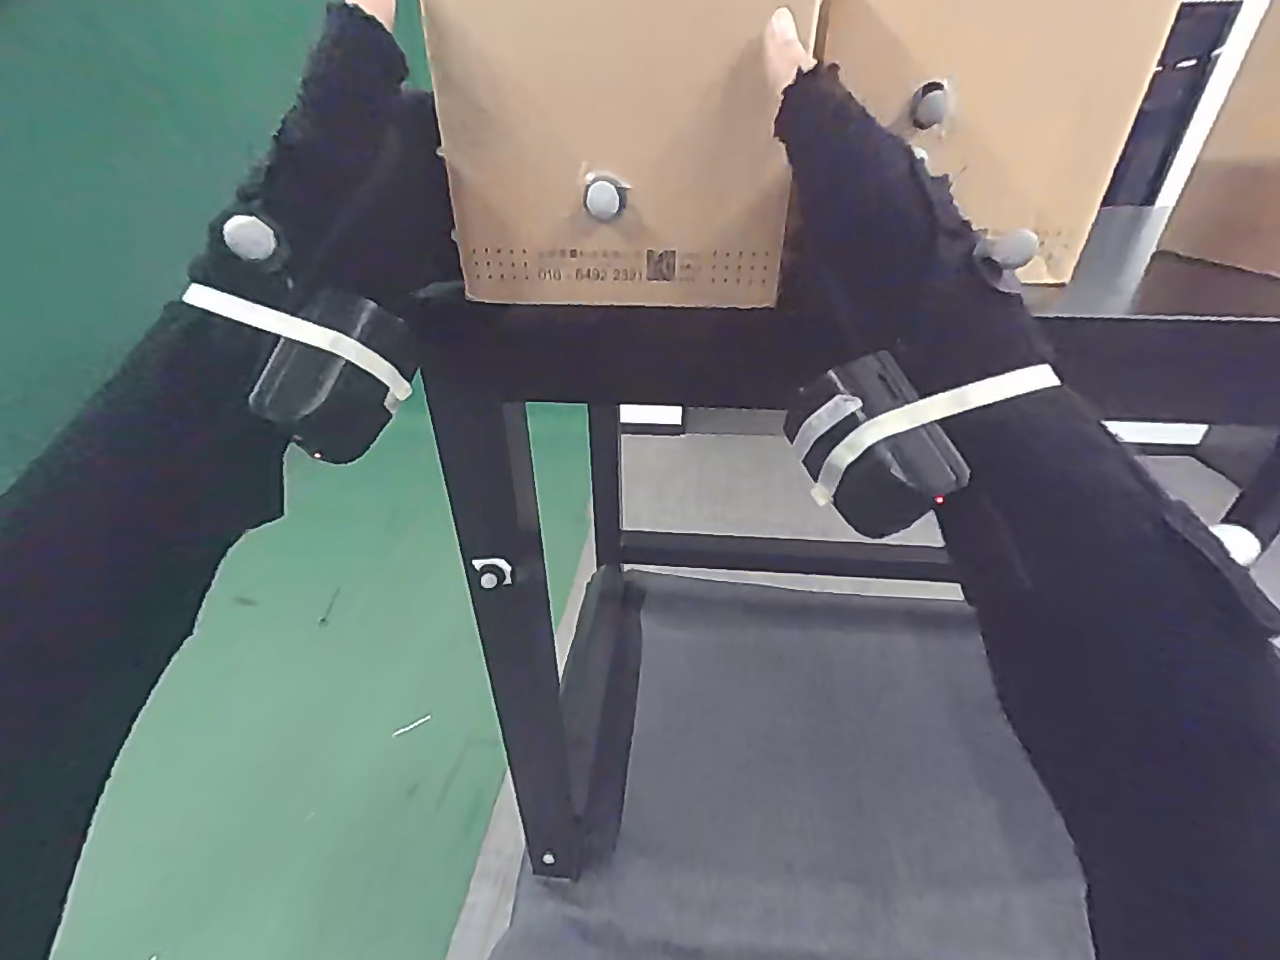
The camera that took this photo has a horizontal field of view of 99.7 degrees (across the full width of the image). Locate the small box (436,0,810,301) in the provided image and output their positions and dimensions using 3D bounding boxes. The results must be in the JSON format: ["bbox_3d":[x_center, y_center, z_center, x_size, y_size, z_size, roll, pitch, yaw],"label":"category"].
[{"bbox_3d":[-0.007,-0.212,0.315,0.168,0.176,0.179,2,31,2],"label":"small box"}]
